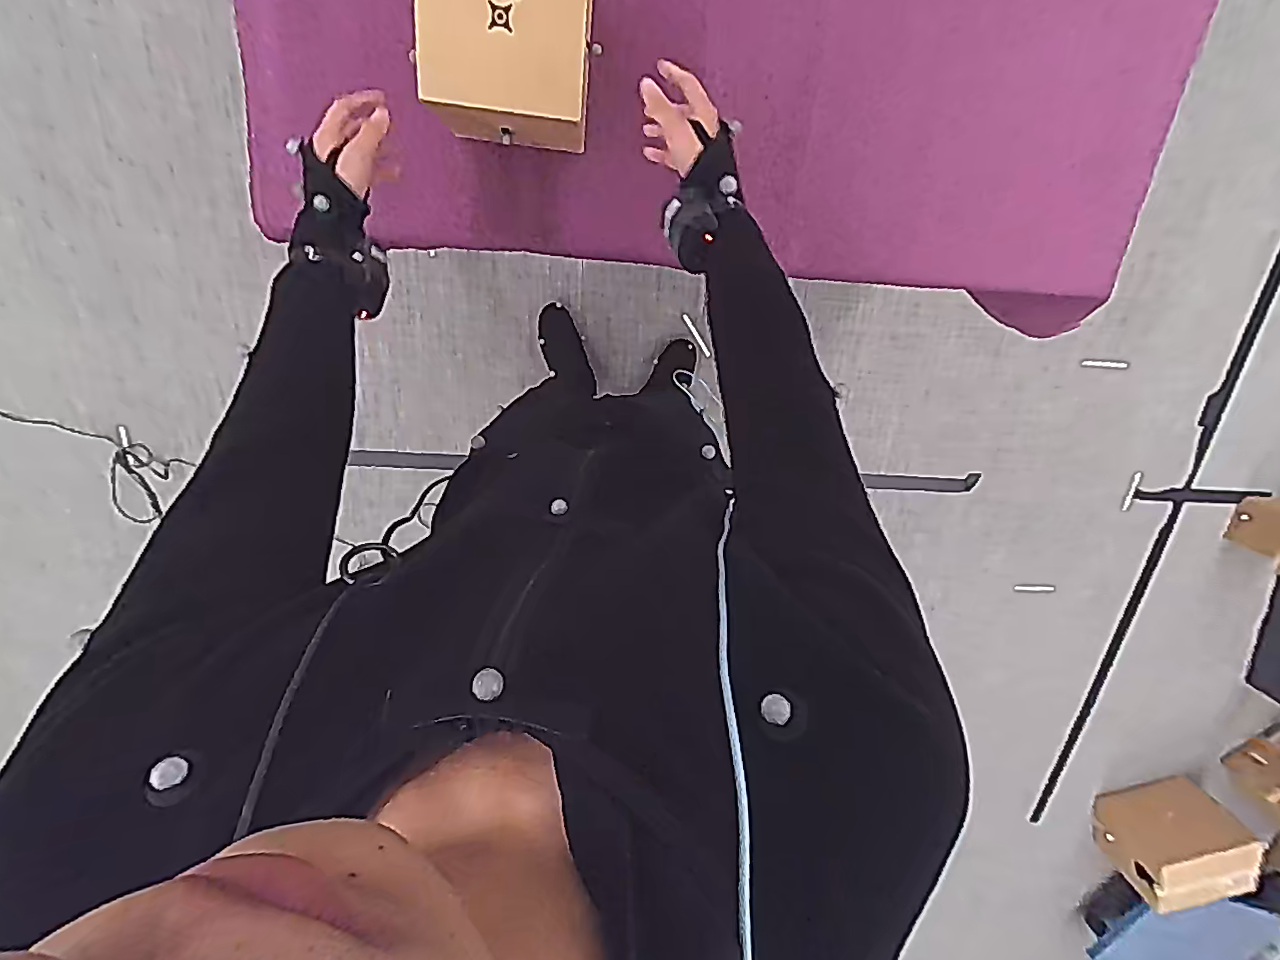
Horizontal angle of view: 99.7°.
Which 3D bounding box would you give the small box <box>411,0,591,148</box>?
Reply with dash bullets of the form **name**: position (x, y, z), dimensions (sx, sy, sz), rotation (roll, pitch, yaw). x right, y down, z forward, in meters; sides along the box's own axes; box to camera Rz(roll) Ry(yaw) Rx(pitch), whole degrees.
- **small box**: position (-0.142, -0.485, 0.593), dimensions (0.168, 0.176, 0.179), rotation (4, 111, -7)
